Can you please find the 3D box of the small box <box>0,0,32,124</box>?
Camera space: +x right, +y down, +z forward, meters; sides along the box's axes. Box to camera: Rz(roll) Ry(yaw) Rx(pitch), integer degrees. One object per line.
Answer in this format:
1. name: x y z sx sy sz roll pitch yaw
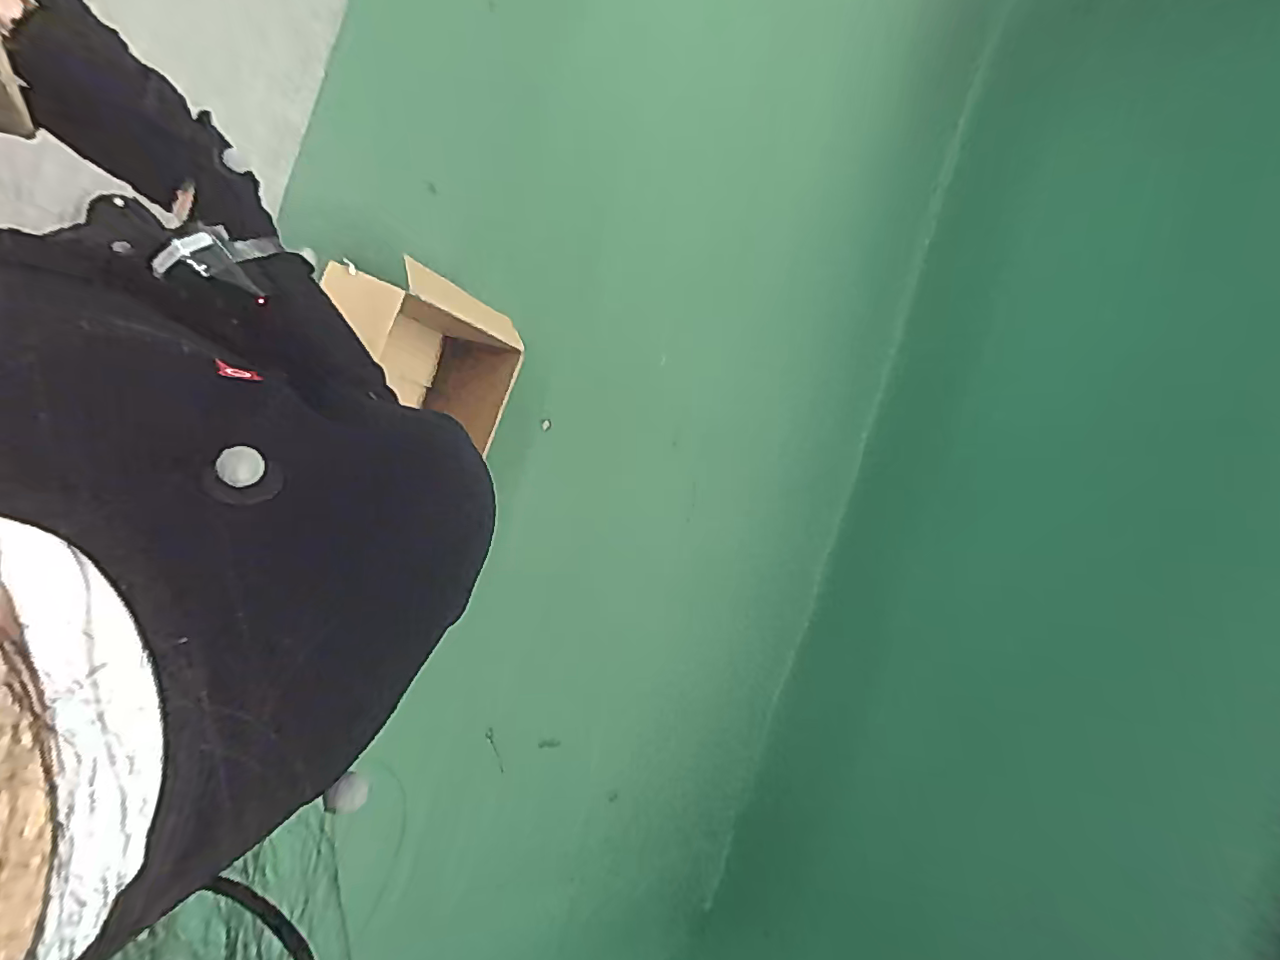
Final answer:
1. small box: -0.398 -0.273 0.217 0.168 0.176 0.179 -19 112 -40
